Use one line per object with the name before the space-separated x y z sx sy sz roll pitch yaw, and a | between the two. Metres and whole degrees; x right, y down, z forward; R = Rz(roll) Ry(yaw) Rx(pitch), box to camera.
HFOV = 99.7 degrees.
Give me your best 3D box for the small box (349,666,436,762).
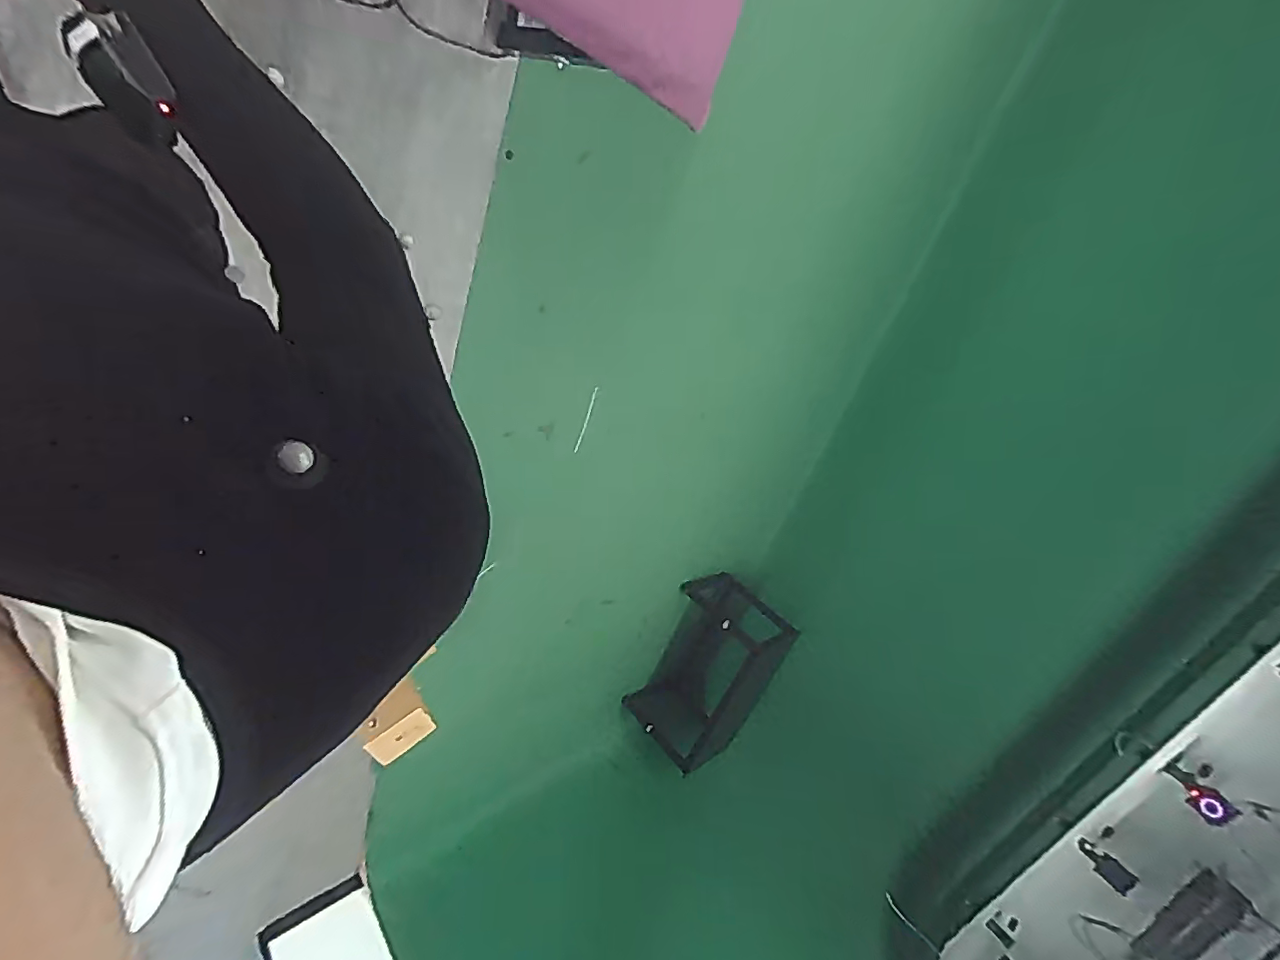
small box | -0.760 0.709 1.649 0.179 0.176 0.168 -33 143 -26
